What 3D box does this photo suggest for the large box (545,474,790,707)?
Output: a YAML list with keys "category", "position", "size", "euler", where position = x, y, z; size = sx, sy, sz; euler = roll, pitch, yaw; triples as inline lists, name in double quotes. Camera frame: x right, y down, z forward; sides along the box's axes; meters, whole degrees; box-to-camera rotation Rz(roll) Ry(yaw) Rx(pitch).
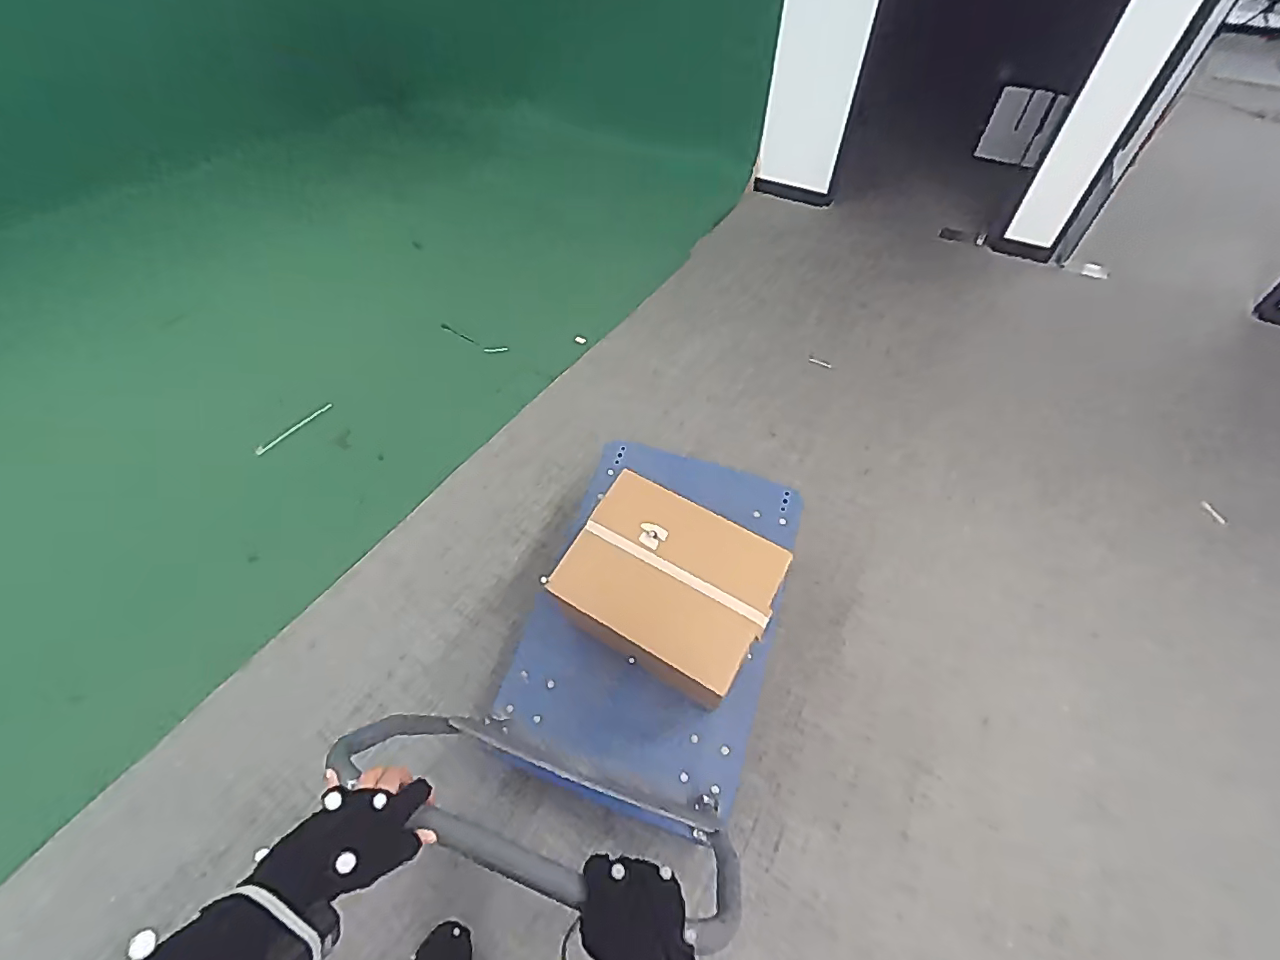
- category: "large box"
  position: [0.068, 0.254, 1.209]
  size: [0.408, 0.320, 0.320]
  euler: [27, 67, 18]
